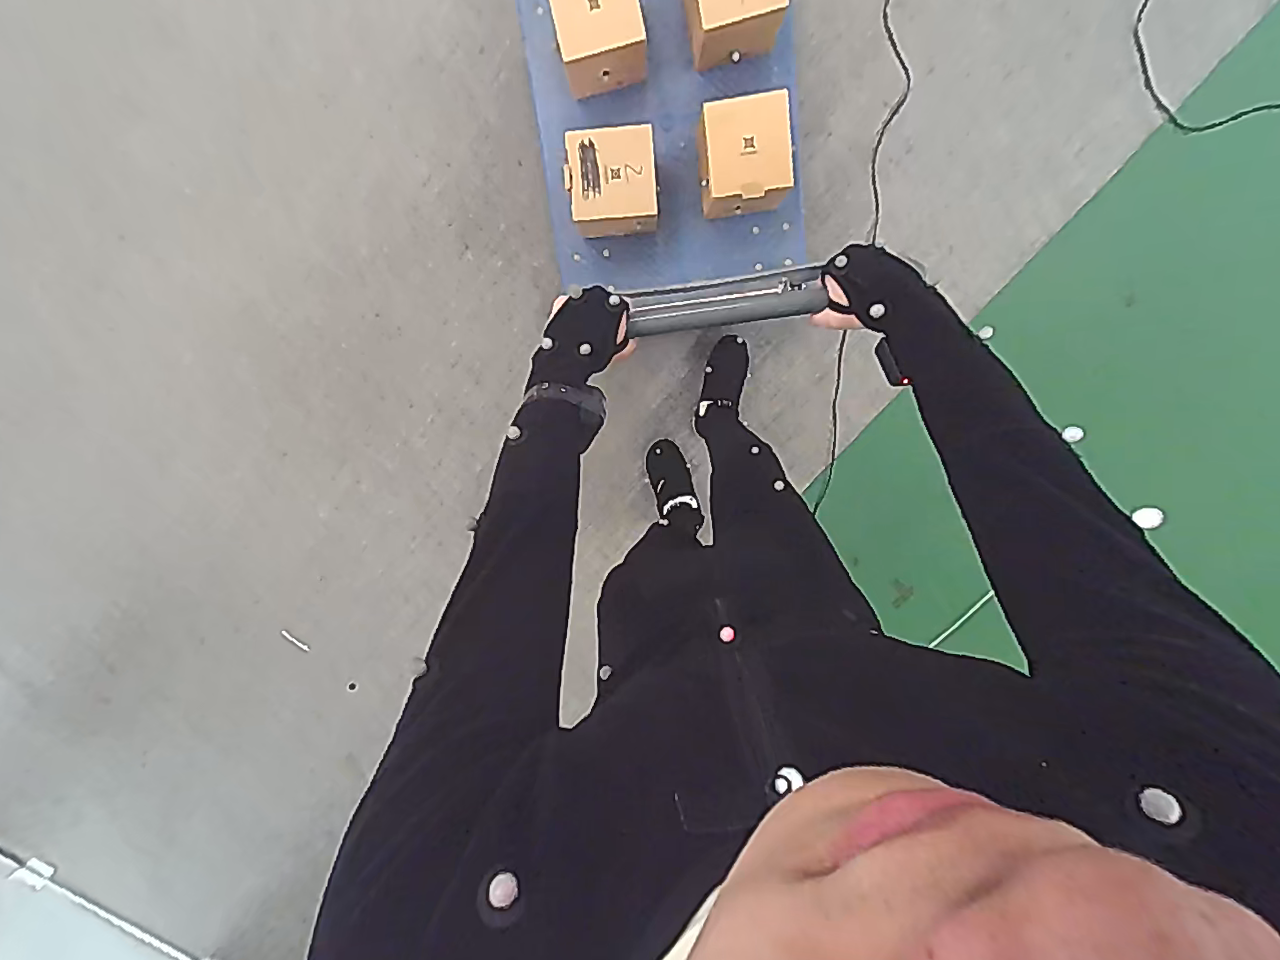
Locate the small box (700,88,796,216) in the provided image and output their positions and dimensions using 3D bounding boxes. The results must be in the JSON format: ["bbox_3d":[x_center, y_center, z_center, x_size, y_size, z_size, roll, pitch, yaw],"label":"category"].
[{"bbox_3d":[0.220,-0.677,1.134,0.168,0.176,0.179,-7,104,3],"label":"small box"}]

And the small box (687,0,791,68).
[{"bbox_3d":[0.185,-0.964,1.062,0.168,0.176,0.179,-12,104,5],"label":"small box"}]

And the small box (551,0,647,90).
[{"bbox_3d":[-0.081,-0.917,1.079,0.168,0.176,0.179,-12,103,3],"label":"small box"}]
